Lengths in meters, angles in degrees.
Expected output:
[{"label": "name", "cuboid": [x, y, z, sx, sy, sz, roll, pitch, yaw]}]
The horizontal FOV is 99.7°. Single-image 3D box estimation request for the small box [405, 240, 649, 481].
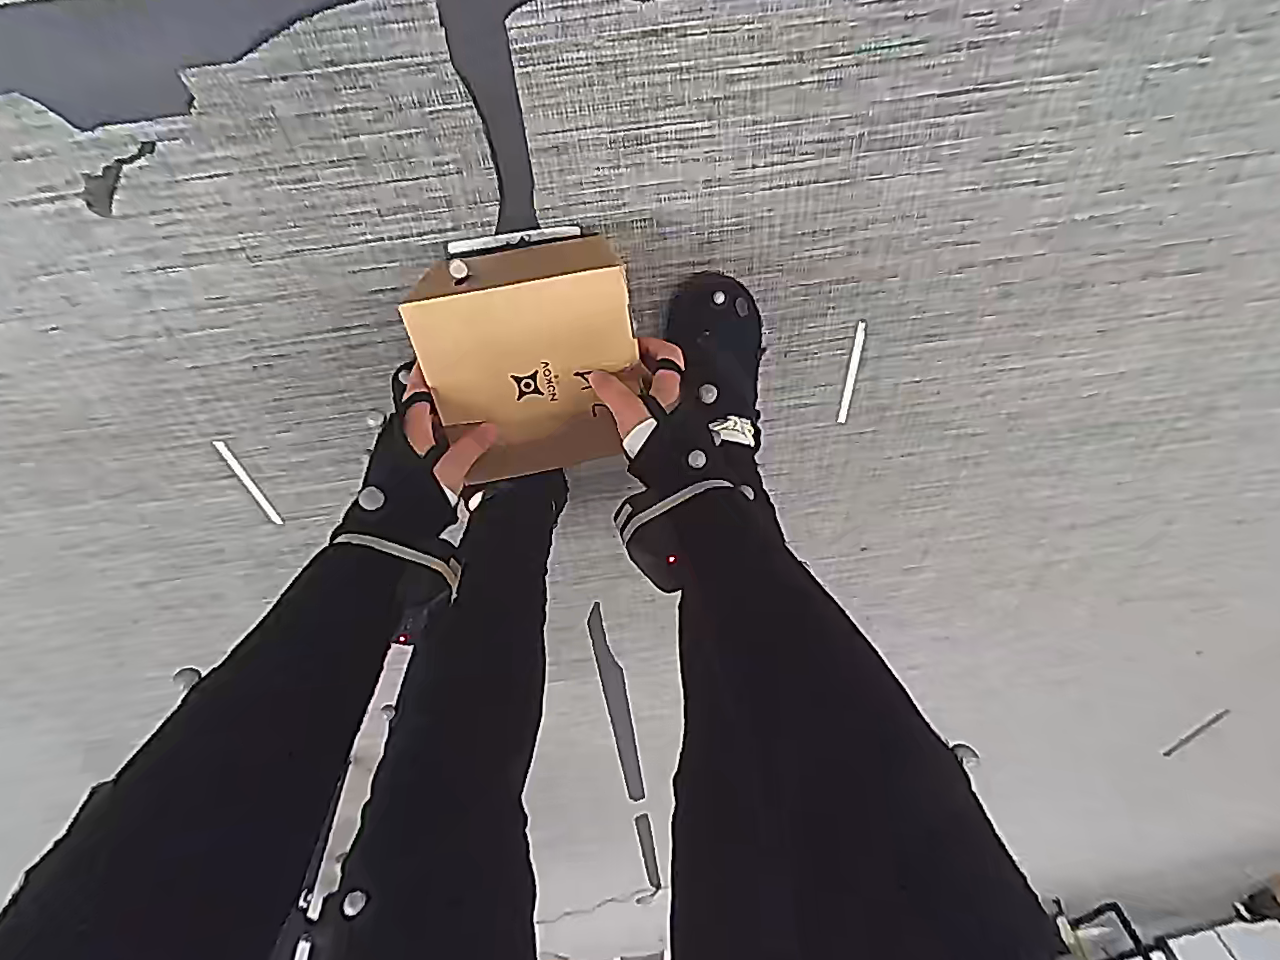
[{"label": "small box", "cuboid": [-0.097, -0.123, 0.522, 0.179, 0.176, 0.168, -11, 123, -4]}]
